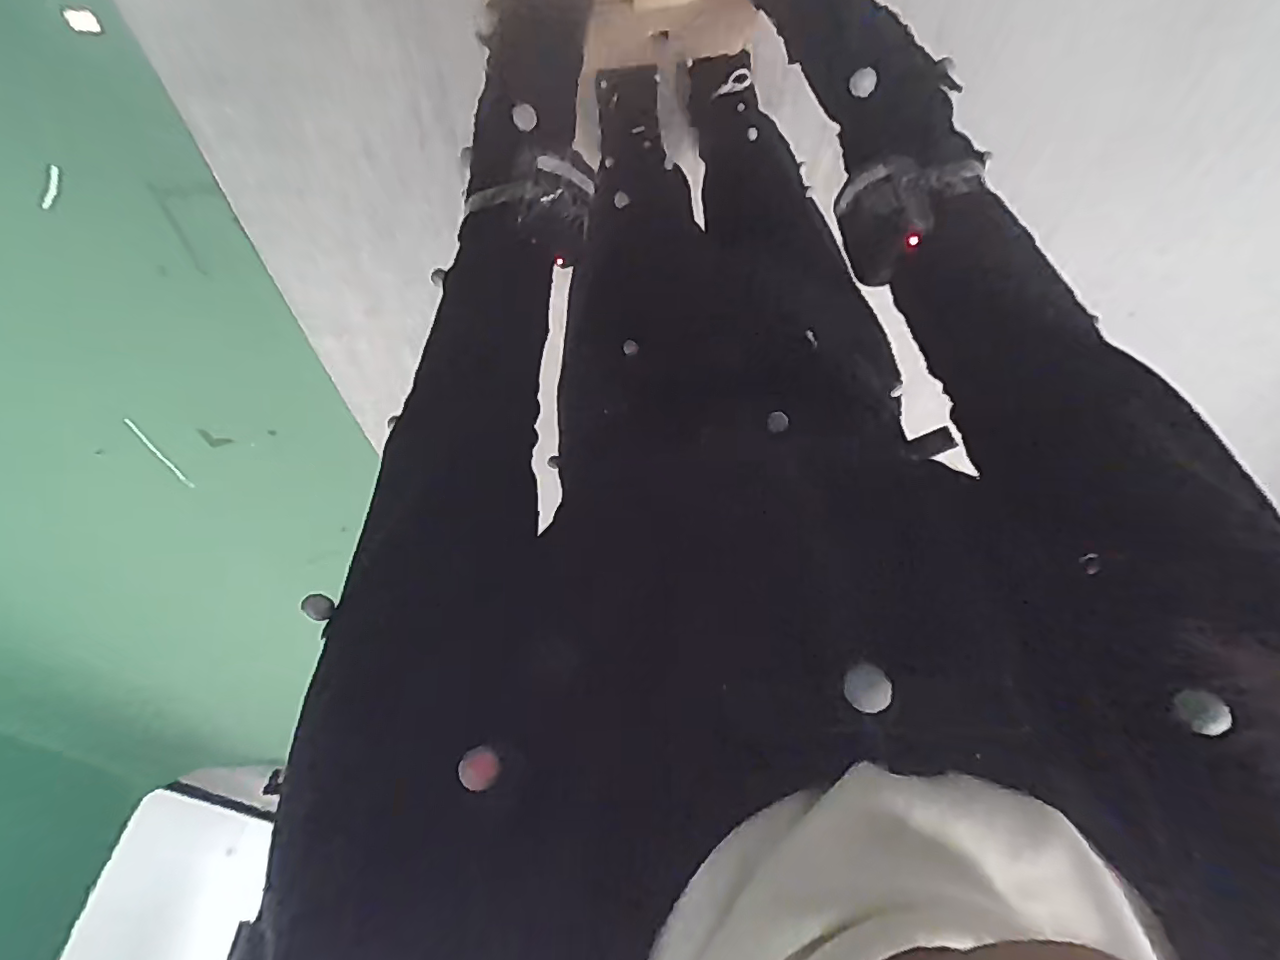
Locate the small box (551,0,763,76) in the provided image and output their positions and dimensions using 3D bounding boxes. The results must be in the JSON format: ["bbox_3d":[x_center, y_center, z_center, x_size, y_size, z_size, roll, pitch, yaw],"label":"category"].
[{"bbox_3d":[0.012,-0.451,0.431,0.168,0.176,0.179,-5,112,4],"label":"small box"}]
